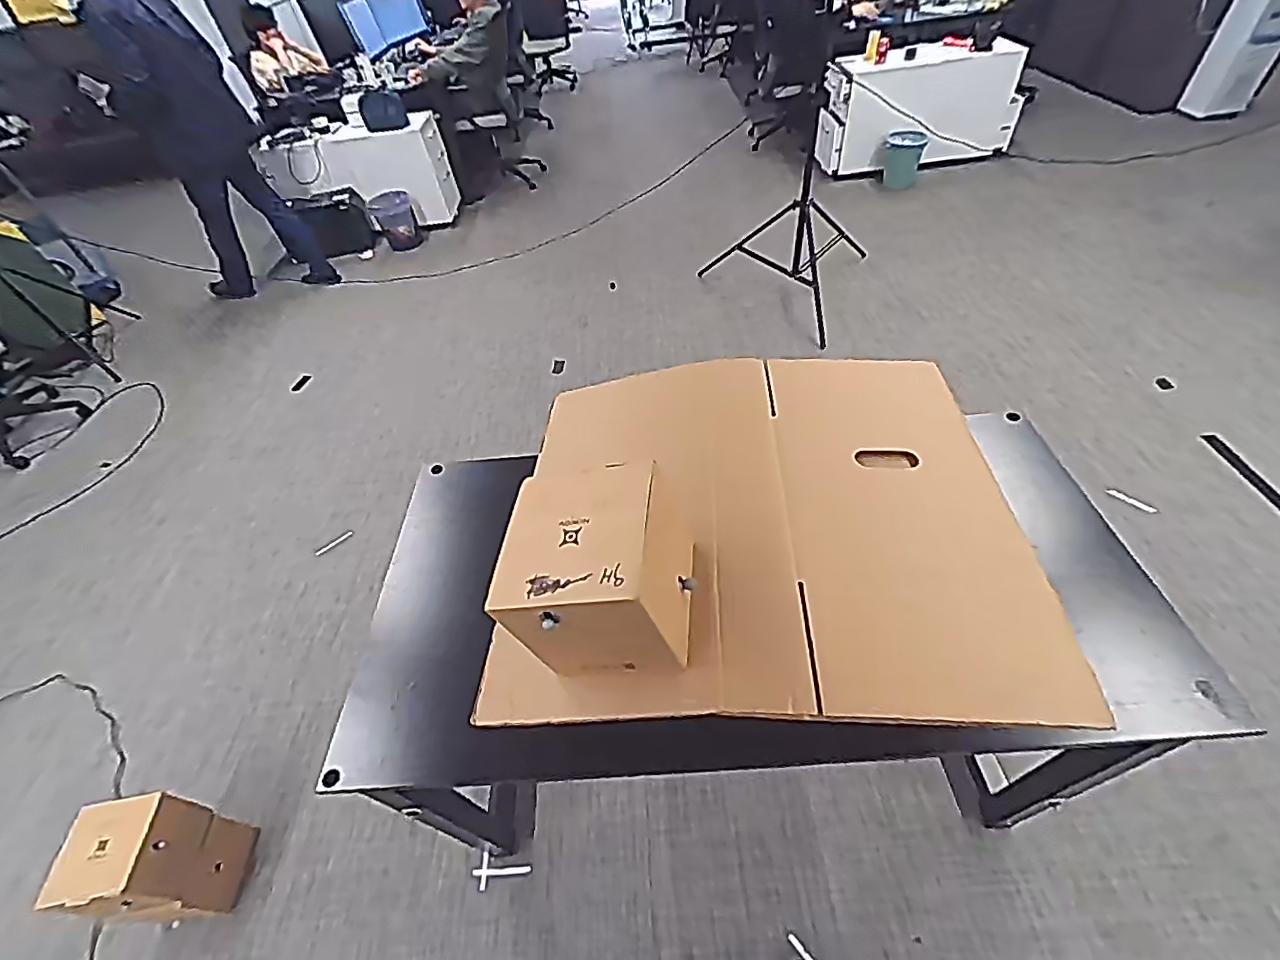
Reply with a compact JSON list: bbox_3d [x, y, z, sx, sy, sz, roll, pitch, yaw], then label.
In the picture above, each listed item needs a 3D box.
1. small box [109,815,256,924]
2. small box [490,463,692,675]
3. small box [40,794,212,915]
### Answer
[{"bbox_3d":[-1.035,0.900,1.247,0.168,0.176,0.179,-8,48,0],"label":"small box"},{"bbox_3d":[-0.041,0.108,0.629,0.168,0.176,0.179,-9,46,18],"label":"small box"},{"bbox_3d":[-1.053,0.788,1.131,0.168,0.176,0.179,-10,46,-3],"label":"small box"}]
